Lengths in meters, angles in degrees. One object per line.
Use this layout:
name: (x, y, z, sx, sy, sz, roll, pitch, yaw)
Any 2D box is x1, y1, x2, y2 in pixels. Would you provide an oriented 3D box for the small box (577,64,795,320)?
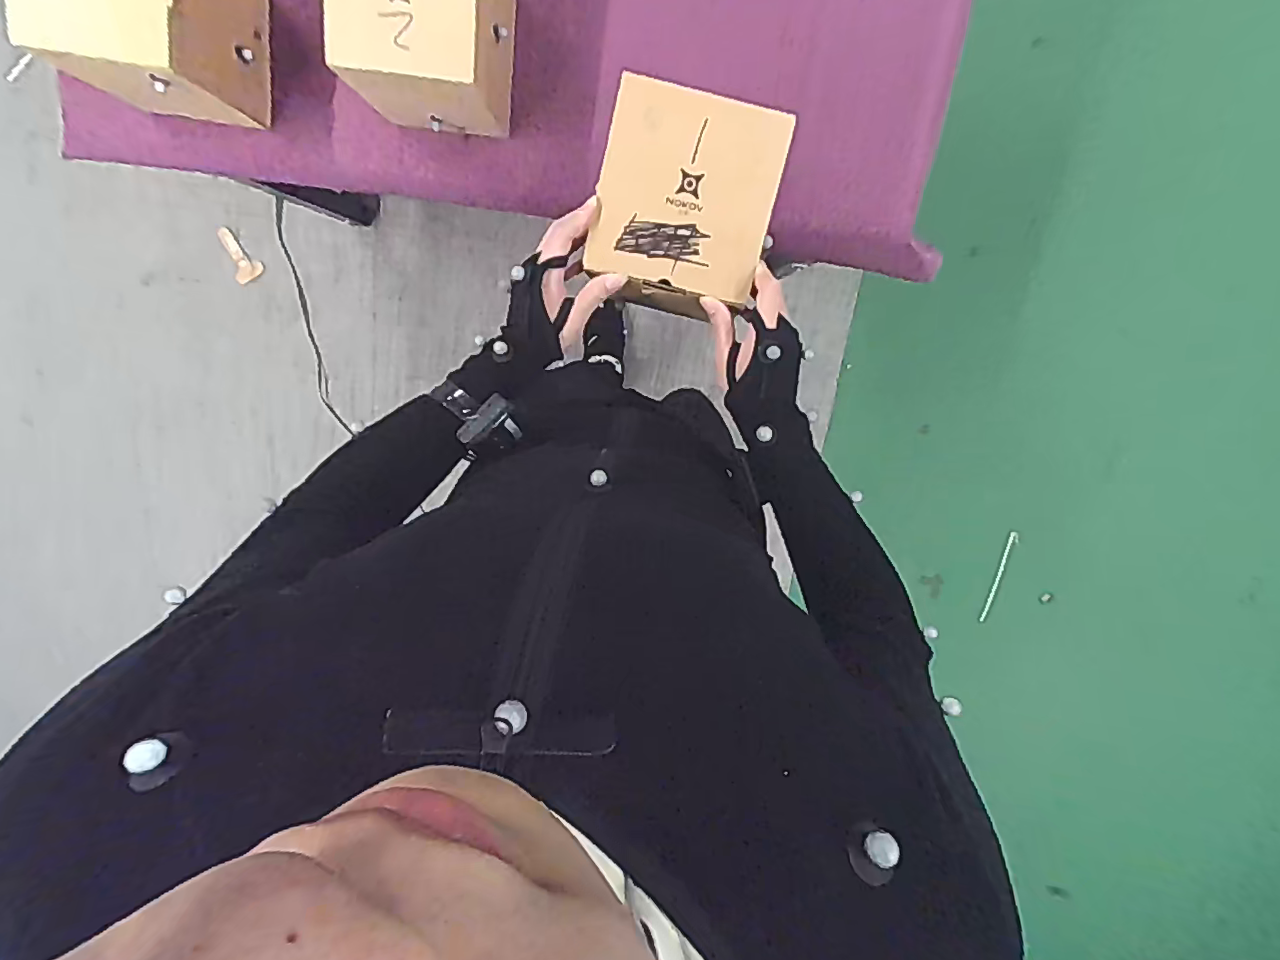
small box: (0.043, -0.279, 0.571, 0.168, 0.176, 0.179, 14, 100, -1)

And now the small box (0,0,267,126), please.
small box: (-0.590, -0.554, 0.646, 0.179, 0.176, 0.168, 7, 103, -3)

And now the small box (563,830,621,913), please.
small box: (-0.165, 1.374, 1.904, 0.179, 0.176, 0.168, 11, 105, -3)
